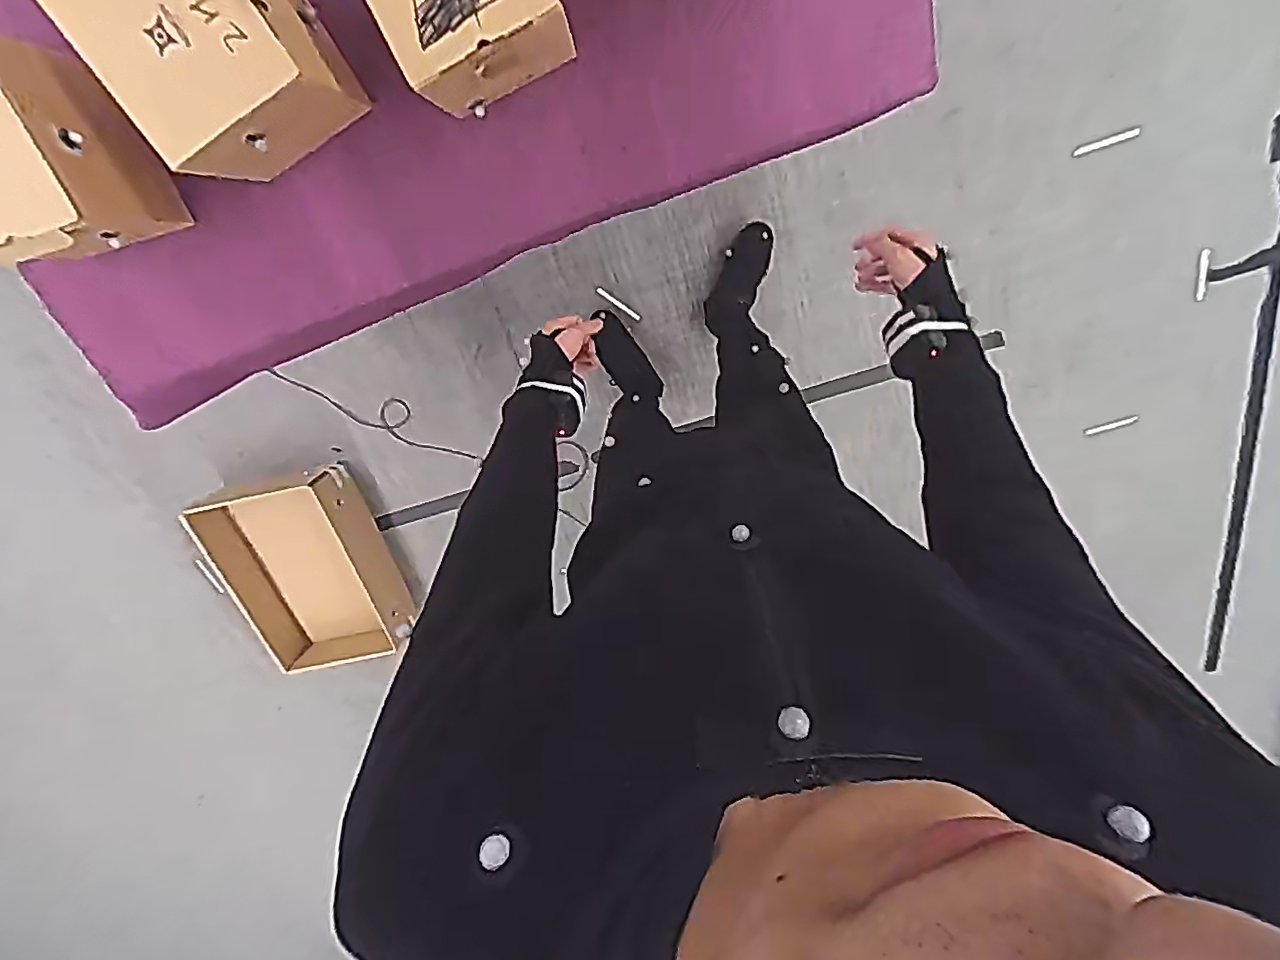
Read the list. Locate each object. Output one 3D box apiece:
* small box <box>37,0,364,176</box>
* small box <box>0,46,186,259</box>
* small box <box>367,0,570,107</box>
[{"bbox_3d":[-0.439,-0.449,0.573,0.179,0.176,0.168,-26,114,10],"label":"small box"},{"bbox_3d":[-0.681,-0.359,0.609,0.168,0.176,0.179,-14,114,4],"label":"small box"},{"bbox_3d":[-0.183,-0.514,0.551,0.168,0.176,0.179,-22,113,8],"label":"small box"}]
